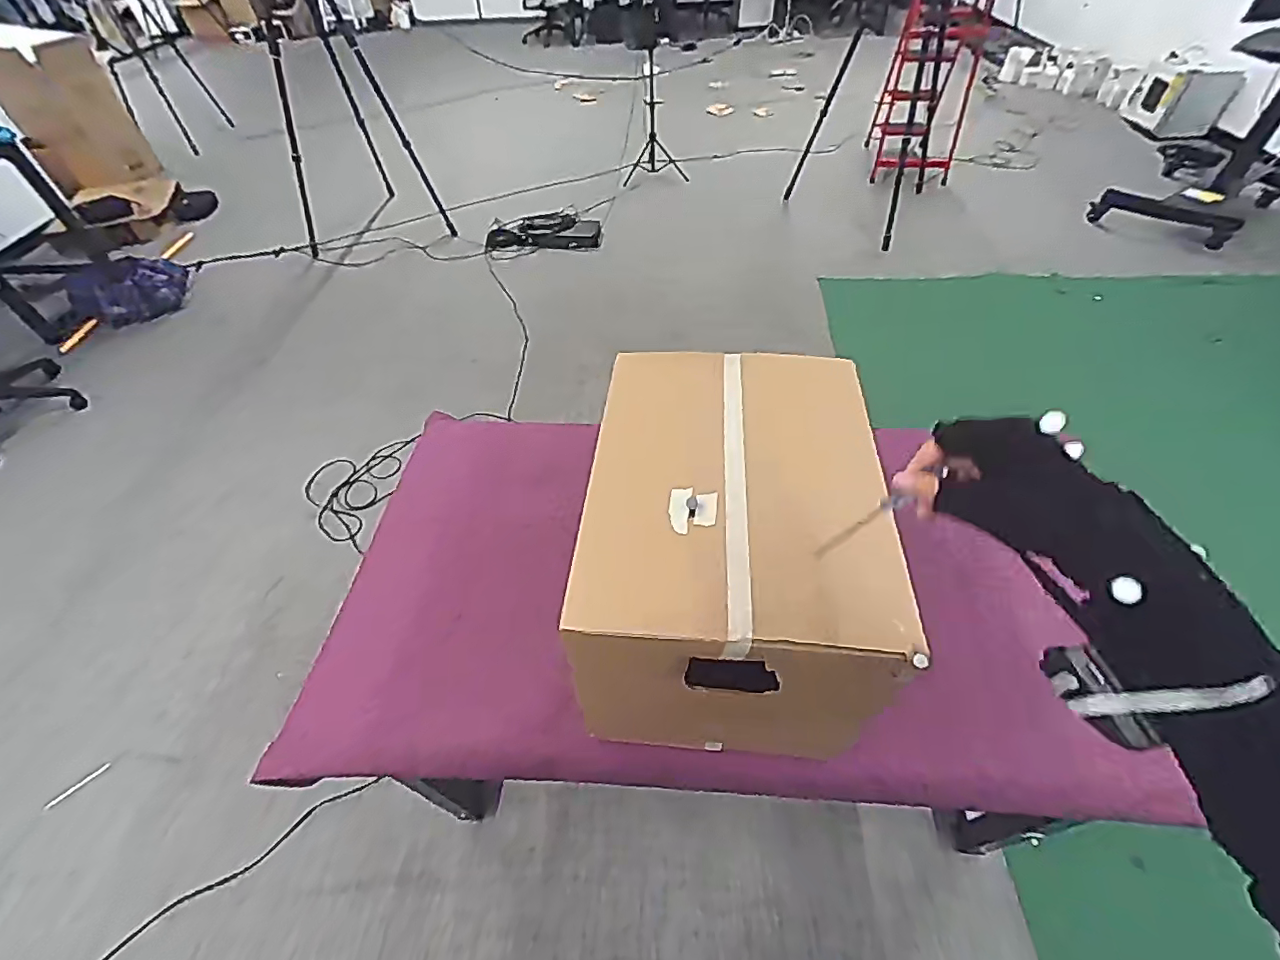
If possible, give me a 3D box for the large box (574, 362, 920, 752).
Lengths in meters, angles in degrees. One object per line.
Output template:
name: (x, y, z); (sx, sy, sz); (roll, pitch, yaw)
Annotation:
large box: (0.110, 0.094, 0.716); (0.320, 0.320, 0.408); (3, 50, 5)
